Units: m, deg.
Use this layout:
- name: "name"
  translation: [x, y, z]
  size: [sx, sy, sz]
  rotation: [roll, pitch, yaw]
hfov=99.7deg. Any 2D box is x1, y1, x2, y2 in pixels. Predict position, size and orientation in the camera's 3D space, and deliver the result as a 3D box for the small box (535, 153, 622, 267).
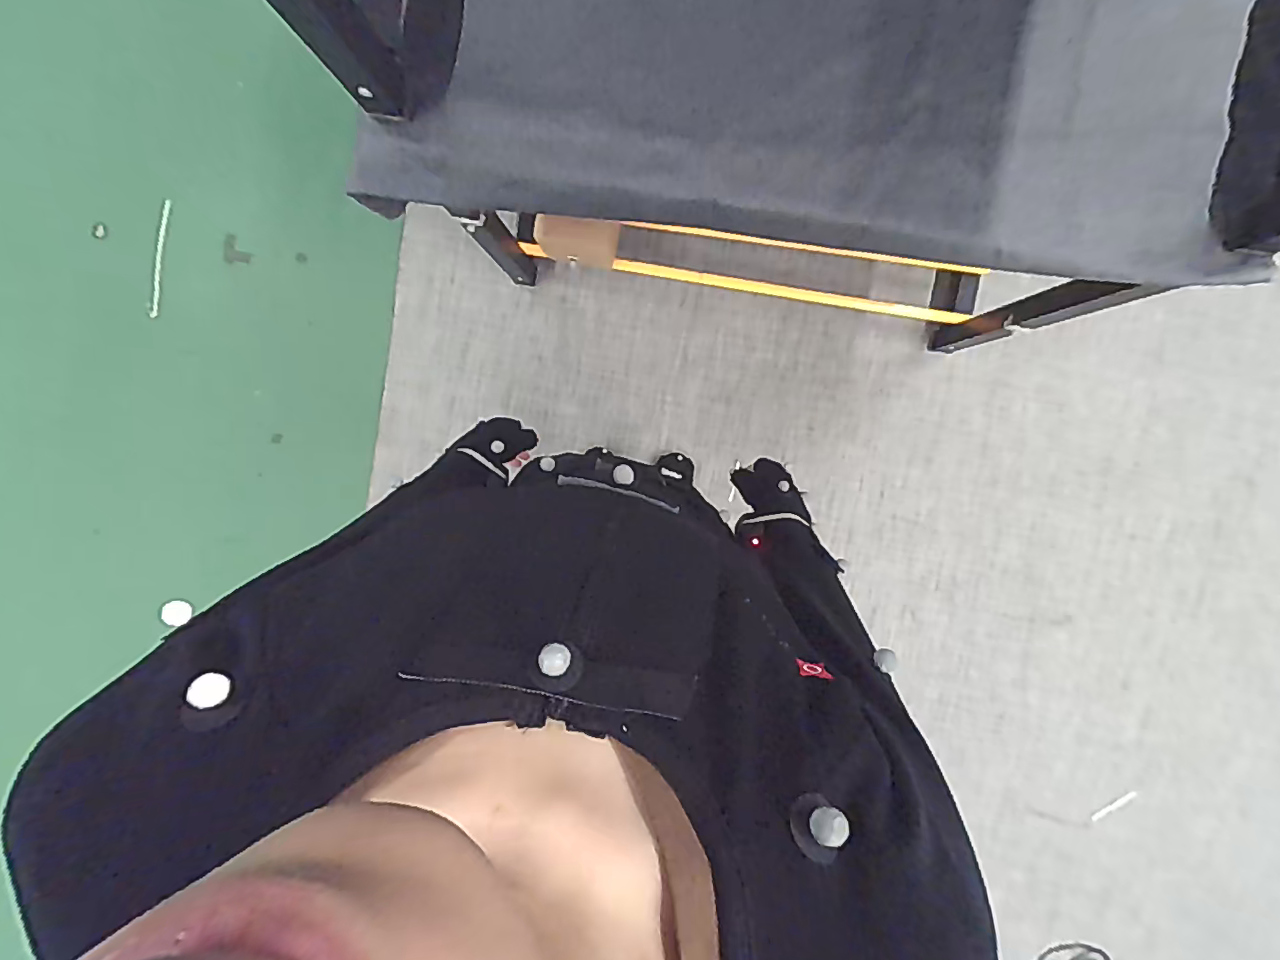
- name: "small box"
  translation: [-0.135, -0.614, 1.250]
  size: [0.168, 0.176, 0.179]
  rotation: [9, 97, 1]
